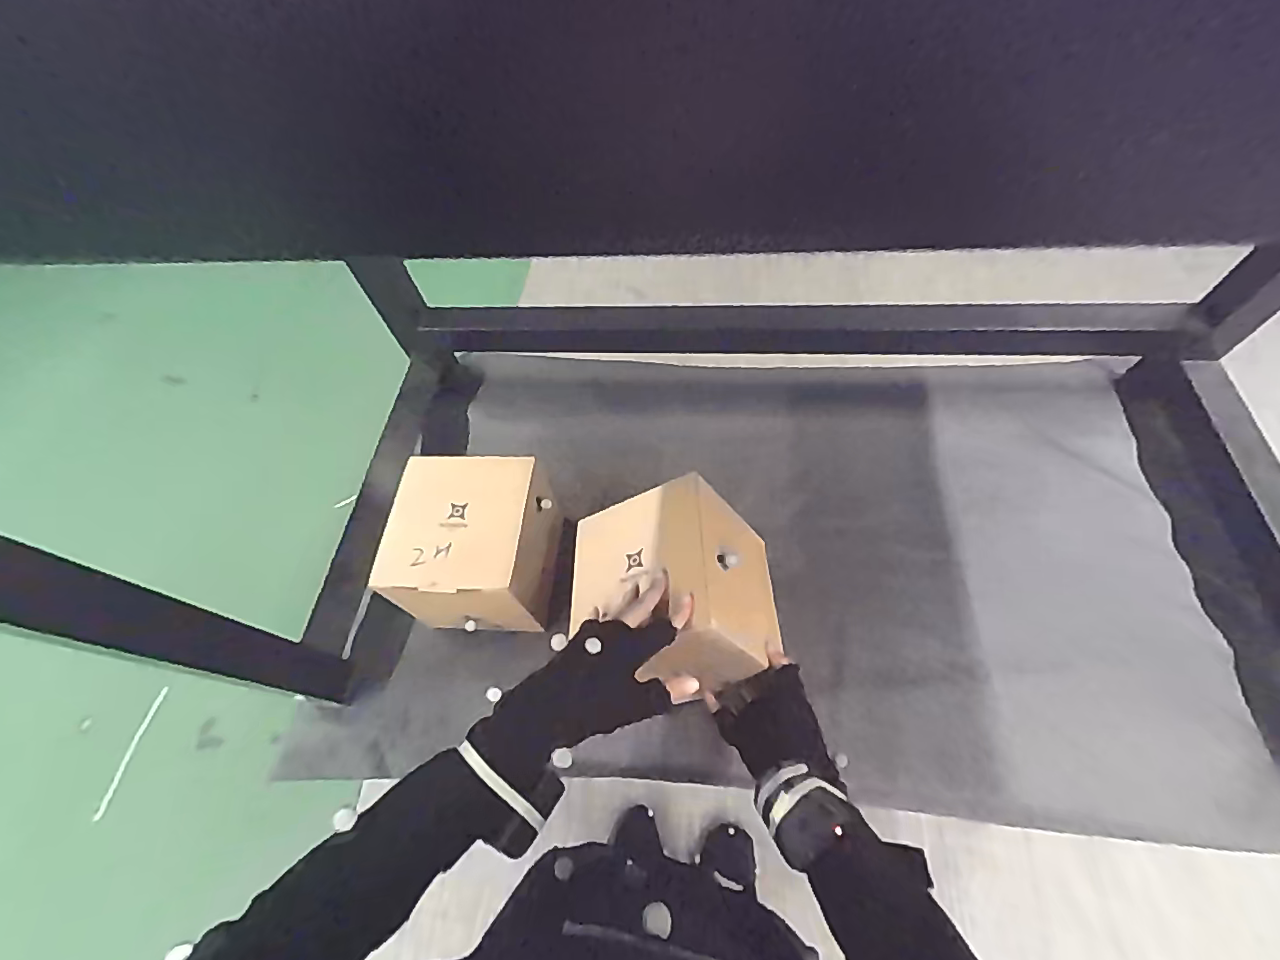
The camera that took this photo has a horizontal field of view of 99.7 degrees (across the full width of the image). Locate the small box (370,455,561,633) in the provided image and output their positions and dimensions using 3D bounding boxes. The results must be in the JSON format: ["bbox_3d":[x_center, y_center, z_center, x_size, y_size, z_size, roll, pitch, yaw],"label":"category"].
[{"bbox_3d":[-0.207,0.085,0.701,0.168,0.176,0.179,0,59,7],"label":"small box"}]

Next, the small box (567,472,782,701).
[{"bbox_3d":[0.041,0.126,0.606,0.168,0.176,0.179,-24,45,27],"label":"small box"}]
